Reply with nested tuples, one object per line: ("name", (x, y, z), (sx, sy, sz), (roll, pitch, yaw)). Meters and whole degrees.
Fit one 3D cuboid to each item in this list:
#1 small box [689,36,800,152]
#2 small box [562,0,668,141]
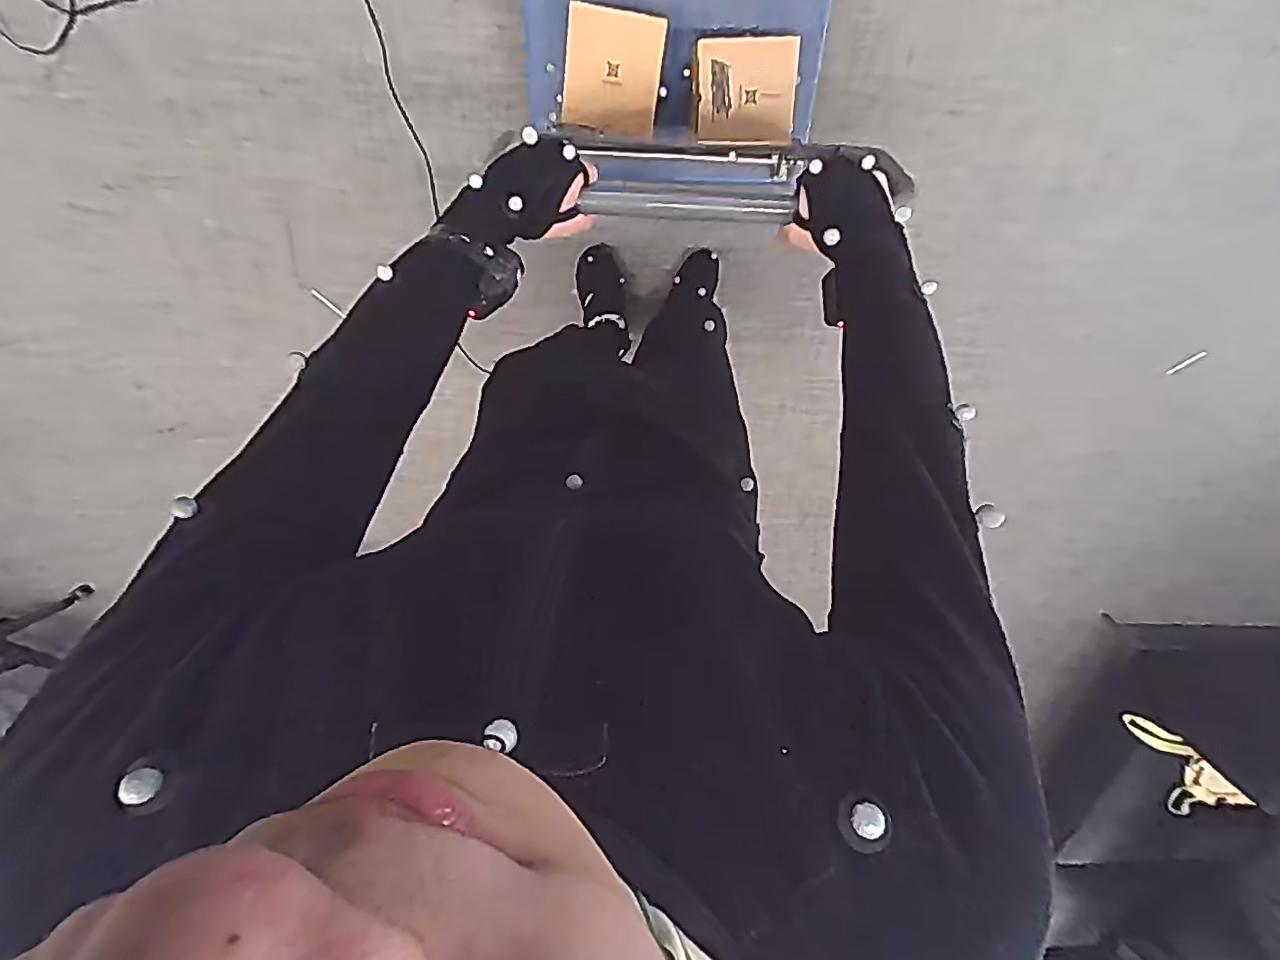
("small box", (0.185, -0.718, 1.020), (0.179, 0.176, 0.168), (-2, 121, 0))
("small box", (-0.050, -0.745, 1.002), (0.168, 0.176, 0.179), (7, 122, -6))
